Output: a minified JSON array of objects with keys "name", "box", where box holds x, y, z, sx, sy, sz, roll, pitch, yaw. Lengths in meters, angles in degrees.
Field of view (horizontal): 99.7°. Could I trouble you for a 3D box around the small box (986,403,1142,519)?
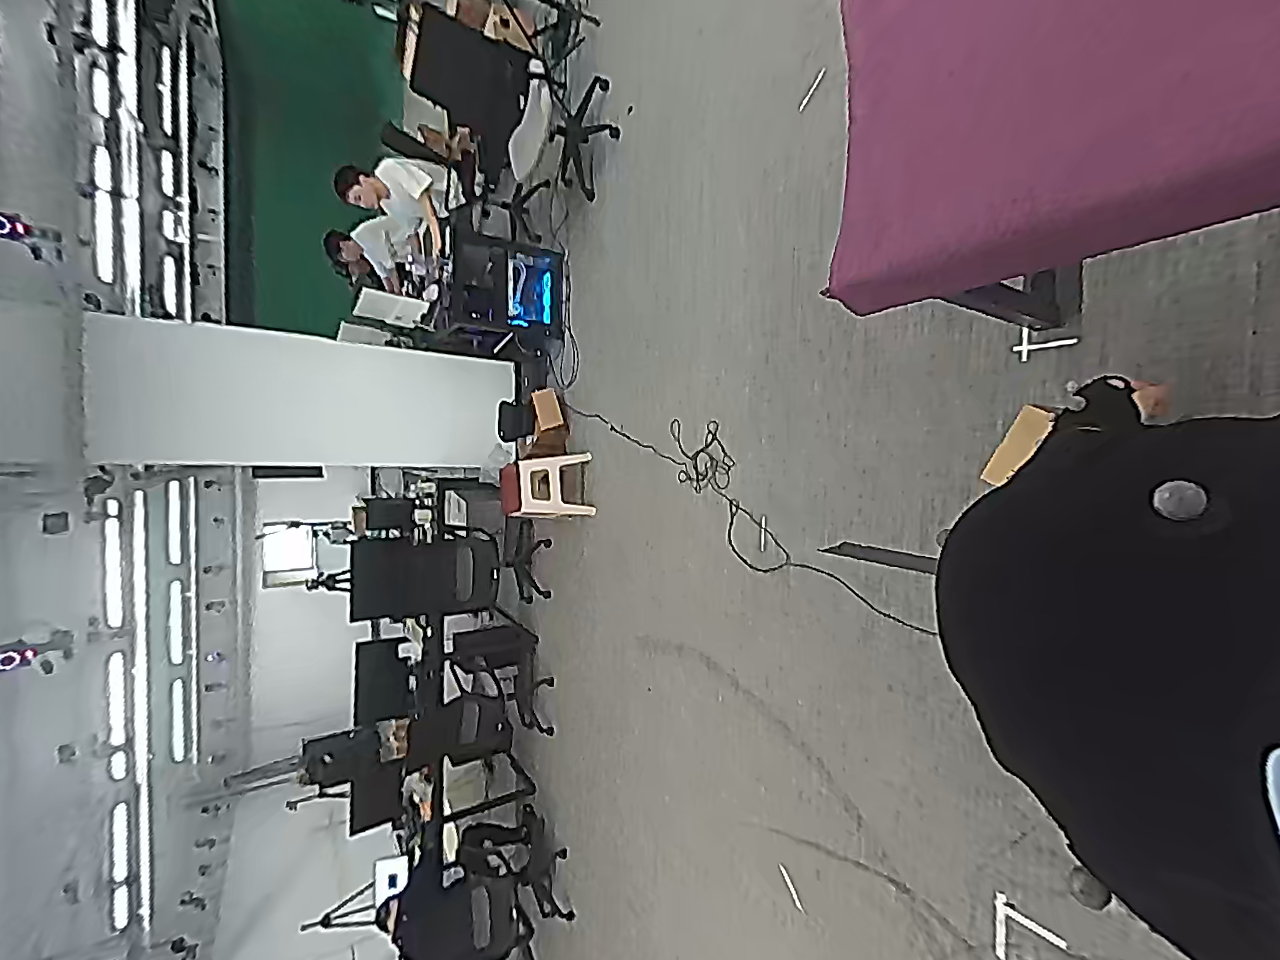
[{"name":"small box","box":[0.855,-0.041,1.090,0.168,0.176,0.179,47,129,46]}]
